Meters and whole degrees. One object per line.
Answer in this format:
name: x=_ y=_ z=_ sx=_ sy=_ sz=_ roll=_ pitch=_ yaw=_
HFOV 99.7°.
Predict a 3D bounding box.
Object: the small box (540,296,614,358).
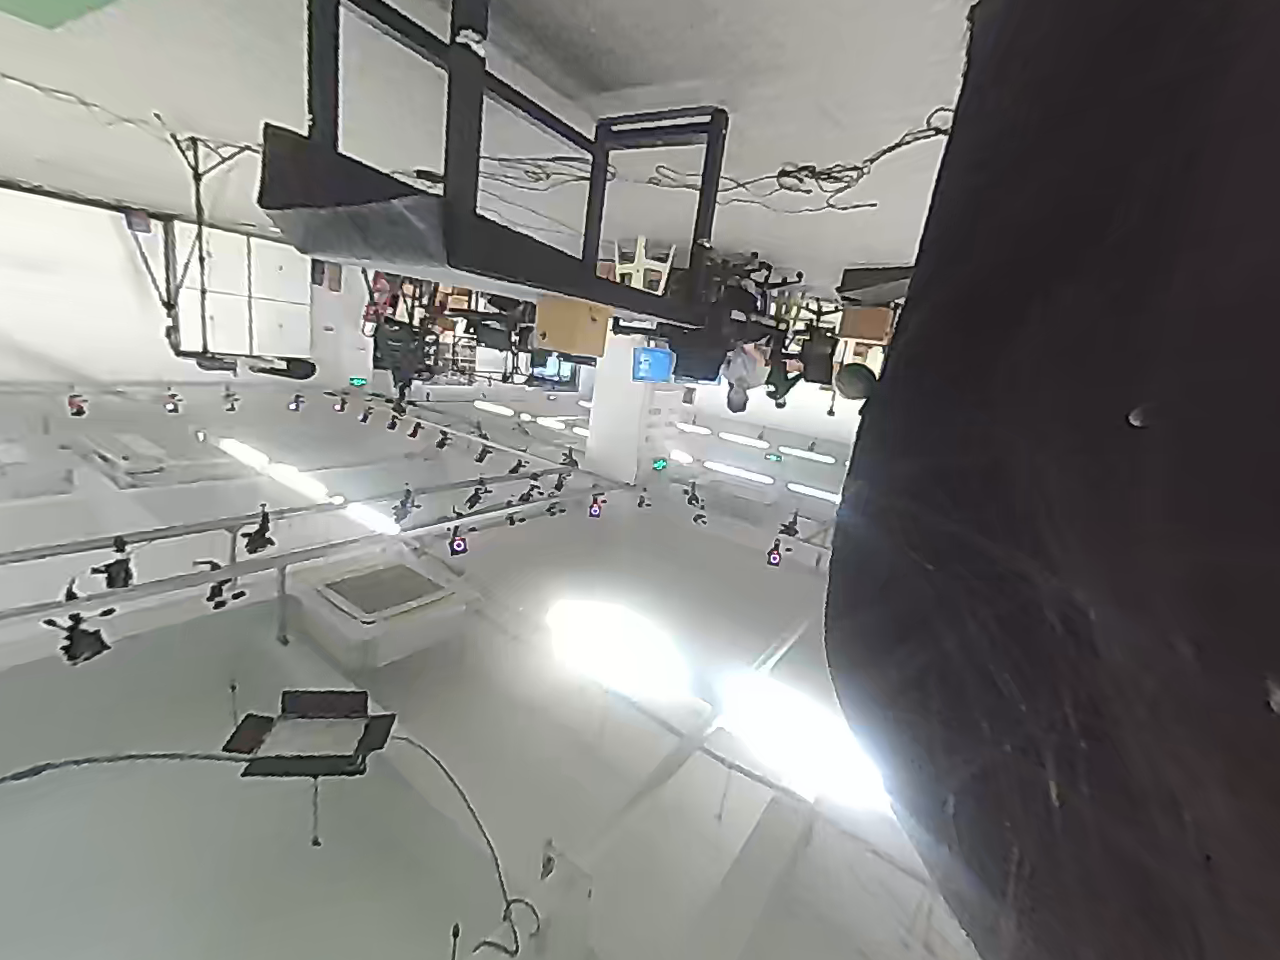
small box: x=-0.204 y=-0.504 z=1.776 sx=0.179 sy=0.176 sz=0.168 roll=17 pitch=-163 yaw=31
